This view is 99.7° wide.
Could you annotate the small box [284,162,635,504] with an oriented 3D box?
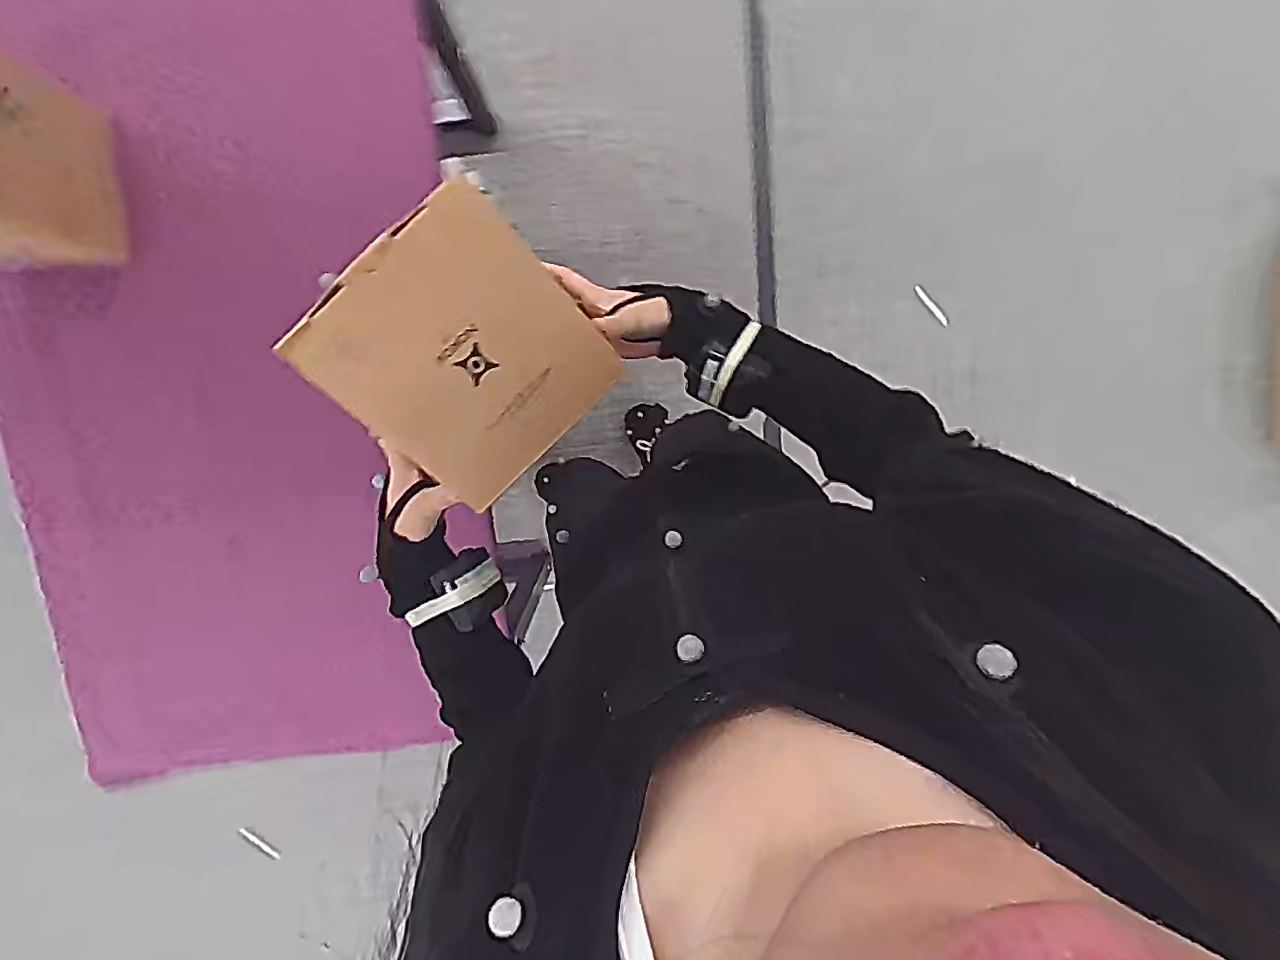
[{"bbox_3d":[-0.139,-0.117,0.444,0.168,0.176,0.179,-43,120,0],"label":"small box"}]
